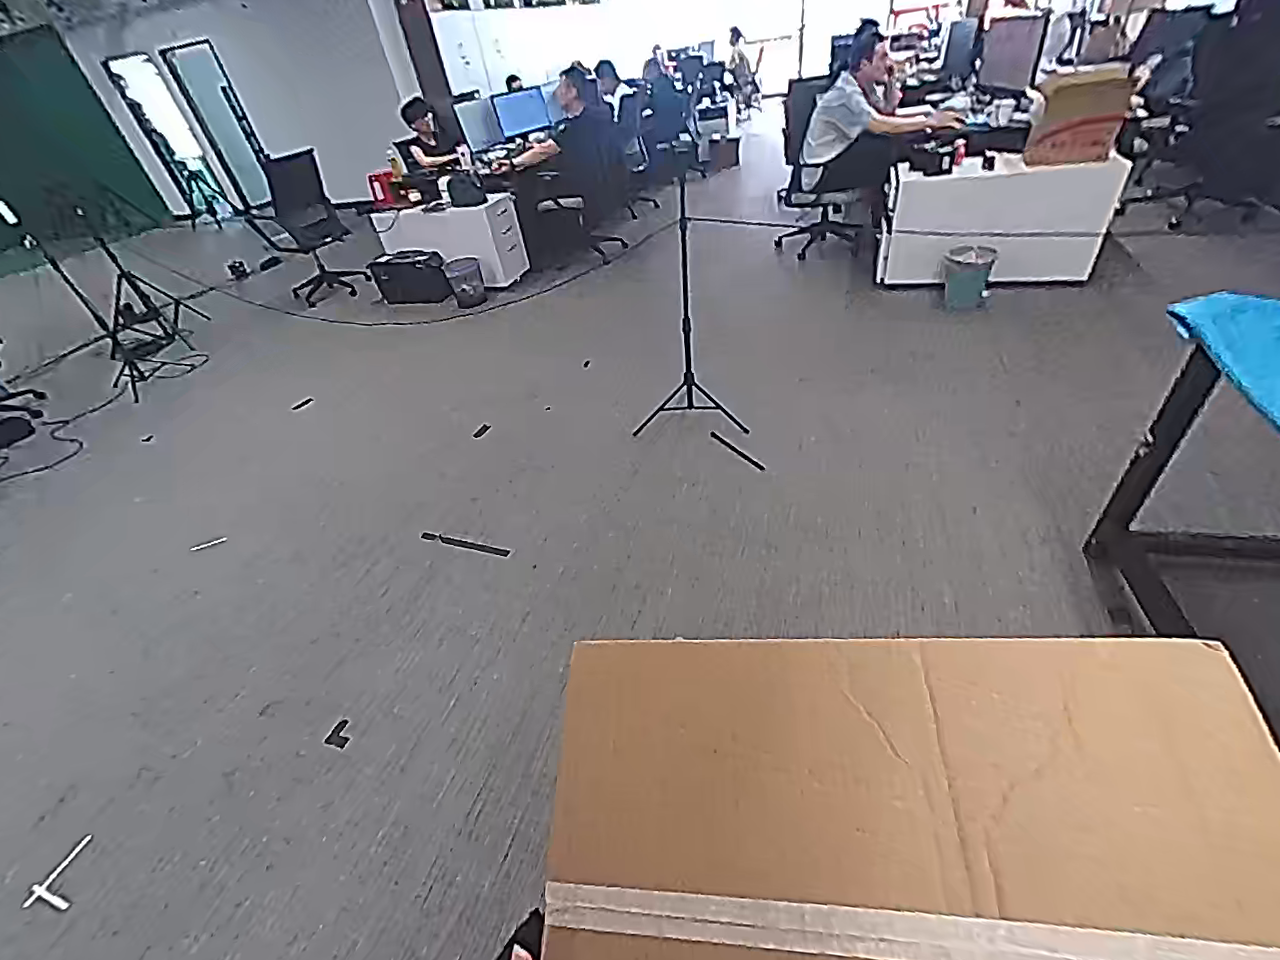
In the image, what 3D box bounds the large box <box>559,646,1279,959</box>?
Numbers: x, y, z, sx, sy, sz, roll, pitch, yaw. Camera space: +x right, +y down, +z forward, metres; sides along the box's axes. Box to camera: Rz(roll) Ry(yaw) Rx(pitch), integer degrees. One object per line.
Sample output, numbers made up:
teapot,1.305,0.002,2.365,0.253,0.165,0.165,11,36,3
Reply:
large box,0.176,0.326,0.423,0.408,0.320,0.320,-4,60,13
